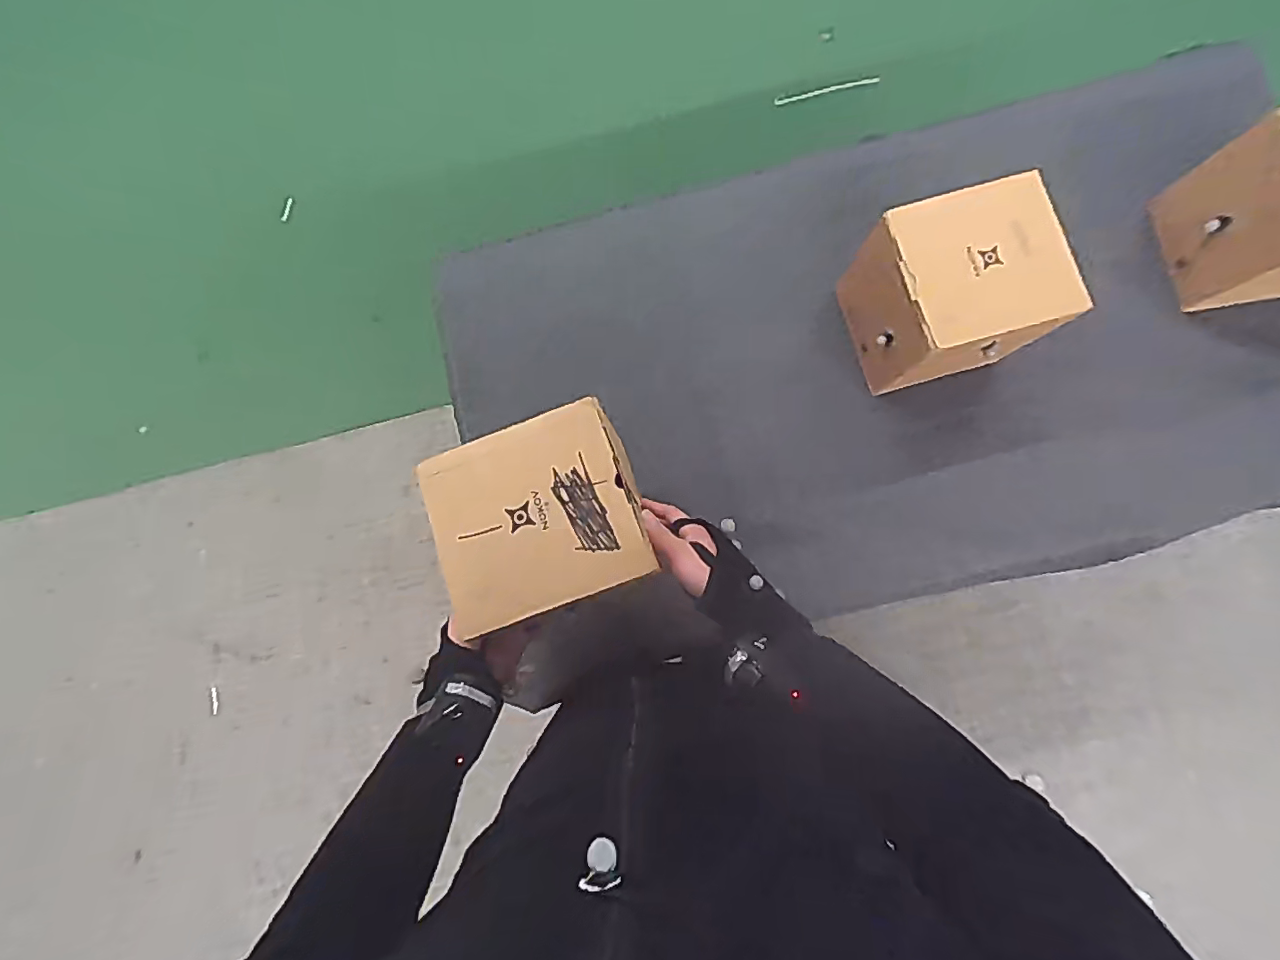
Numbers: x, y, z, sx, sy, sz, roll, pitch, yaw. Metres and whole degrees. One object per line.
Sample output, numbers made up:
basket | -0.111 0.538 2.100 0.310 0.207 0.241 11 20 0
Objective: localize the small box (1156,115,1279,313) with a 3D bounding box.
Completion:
small box | 0.789 -0.322 0.657 0.179 0.176 0.168 -10 82 1

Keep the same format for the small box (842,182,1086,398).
small box | 0.367 -0.214 0.655 0.179 0.176 0.168 -16 83 -2
